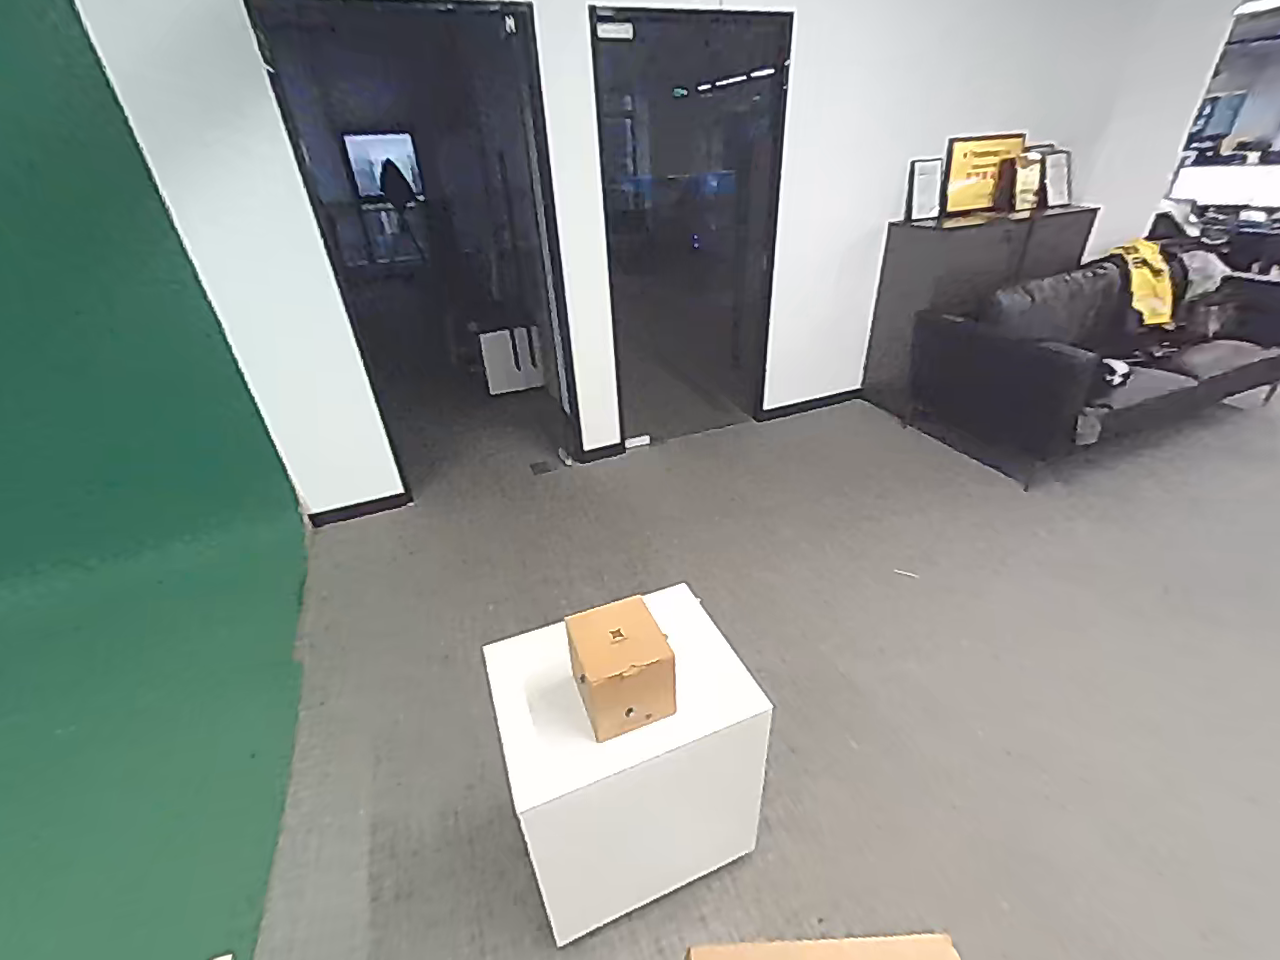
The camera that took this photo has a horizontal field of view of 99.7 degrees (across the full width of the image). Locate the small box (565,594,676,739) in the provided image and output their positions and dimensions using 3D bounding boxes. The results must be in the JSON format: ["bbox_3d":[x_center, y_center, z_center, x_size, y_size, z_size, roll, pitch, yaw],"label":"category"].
[{"bbox_3d":[-0.040,0.358,1.051,0.168,0.176,0.179,-14,32,-18],"label":"small box"}]
